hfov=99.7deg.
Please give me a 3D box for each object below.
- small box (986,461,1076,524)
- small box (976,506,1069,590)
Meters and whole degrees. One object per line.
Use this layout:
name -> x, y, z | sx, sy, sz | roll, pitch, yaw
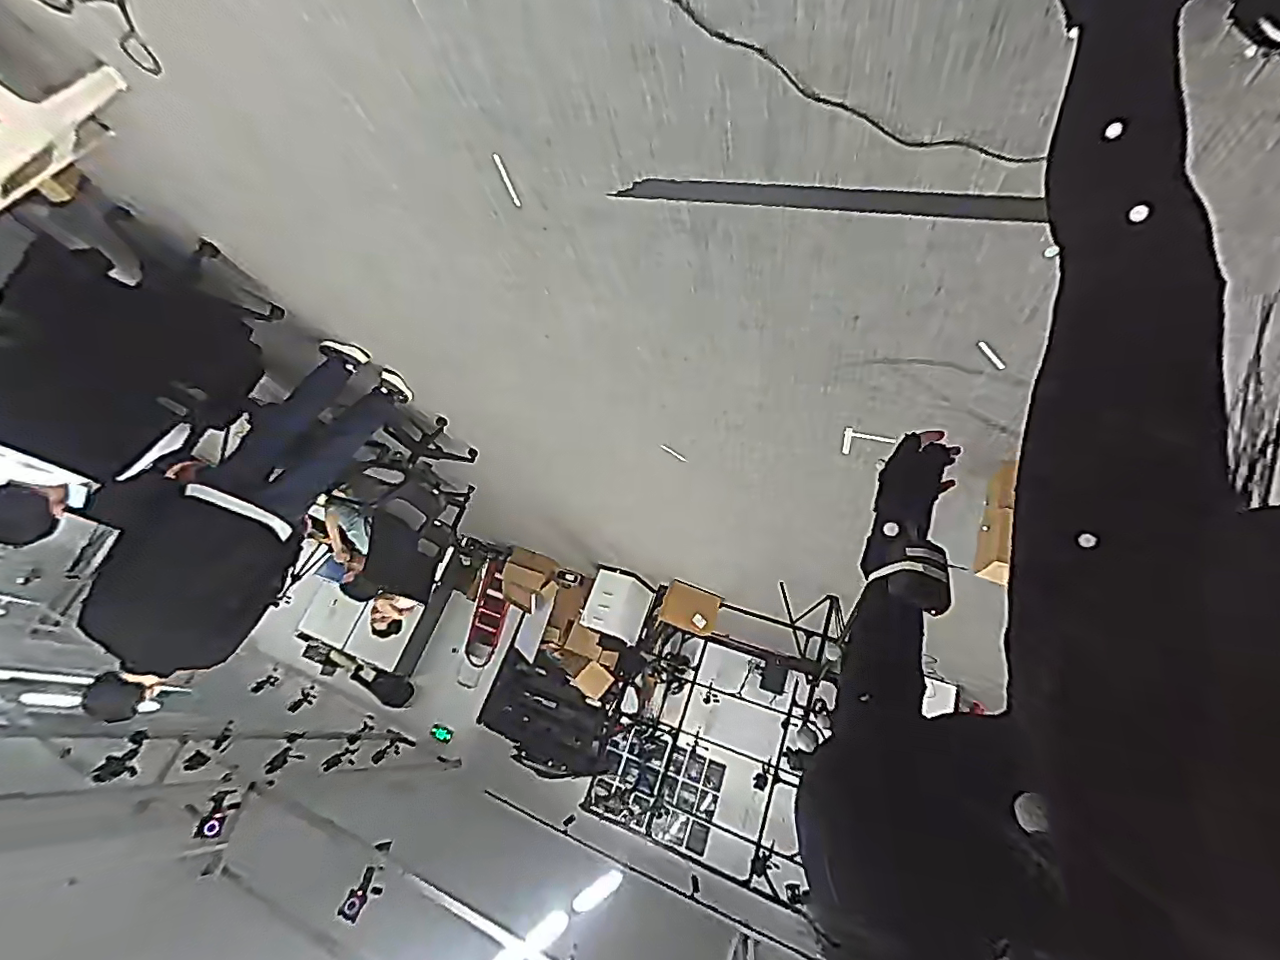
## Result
small box -> 1.162, 0.058, 1.613 | 0.179, 0.176, 0.168 | 12, 159, 23
small box -> 1.096, 0.195, 1.550 | 0.168, 0.176, 0.179 | 15, 161, 17
